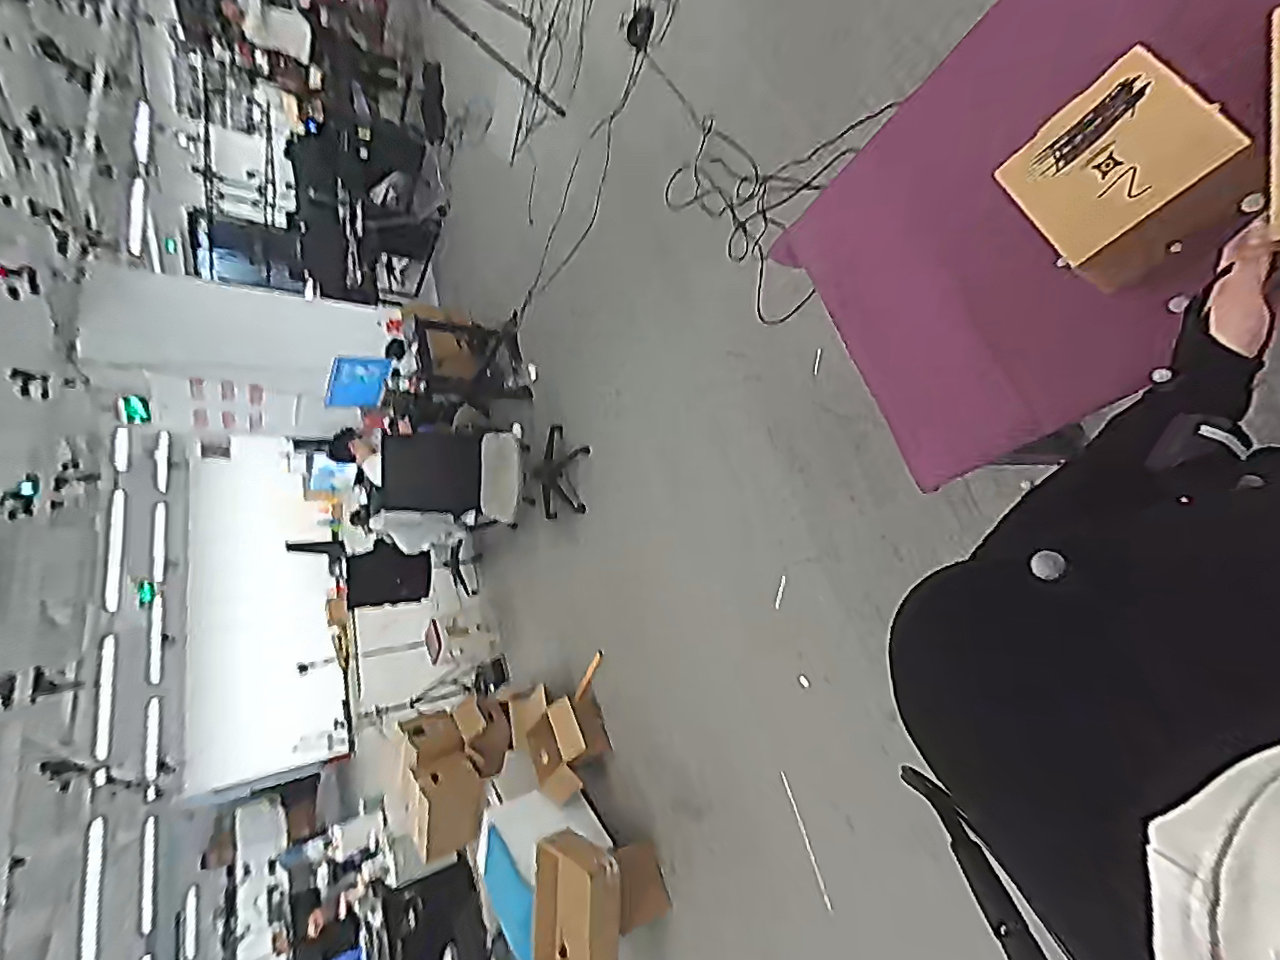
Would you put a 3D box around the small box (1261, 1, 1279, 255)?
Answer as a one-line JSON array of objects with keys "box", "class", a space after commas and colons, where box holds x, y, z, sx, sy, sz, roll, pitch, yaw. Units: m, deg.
[{"box": [0.582, -0.266, 0.384, 0.168, 0.176, 0.179, 3, 93, 54], "class": "small box"}]
